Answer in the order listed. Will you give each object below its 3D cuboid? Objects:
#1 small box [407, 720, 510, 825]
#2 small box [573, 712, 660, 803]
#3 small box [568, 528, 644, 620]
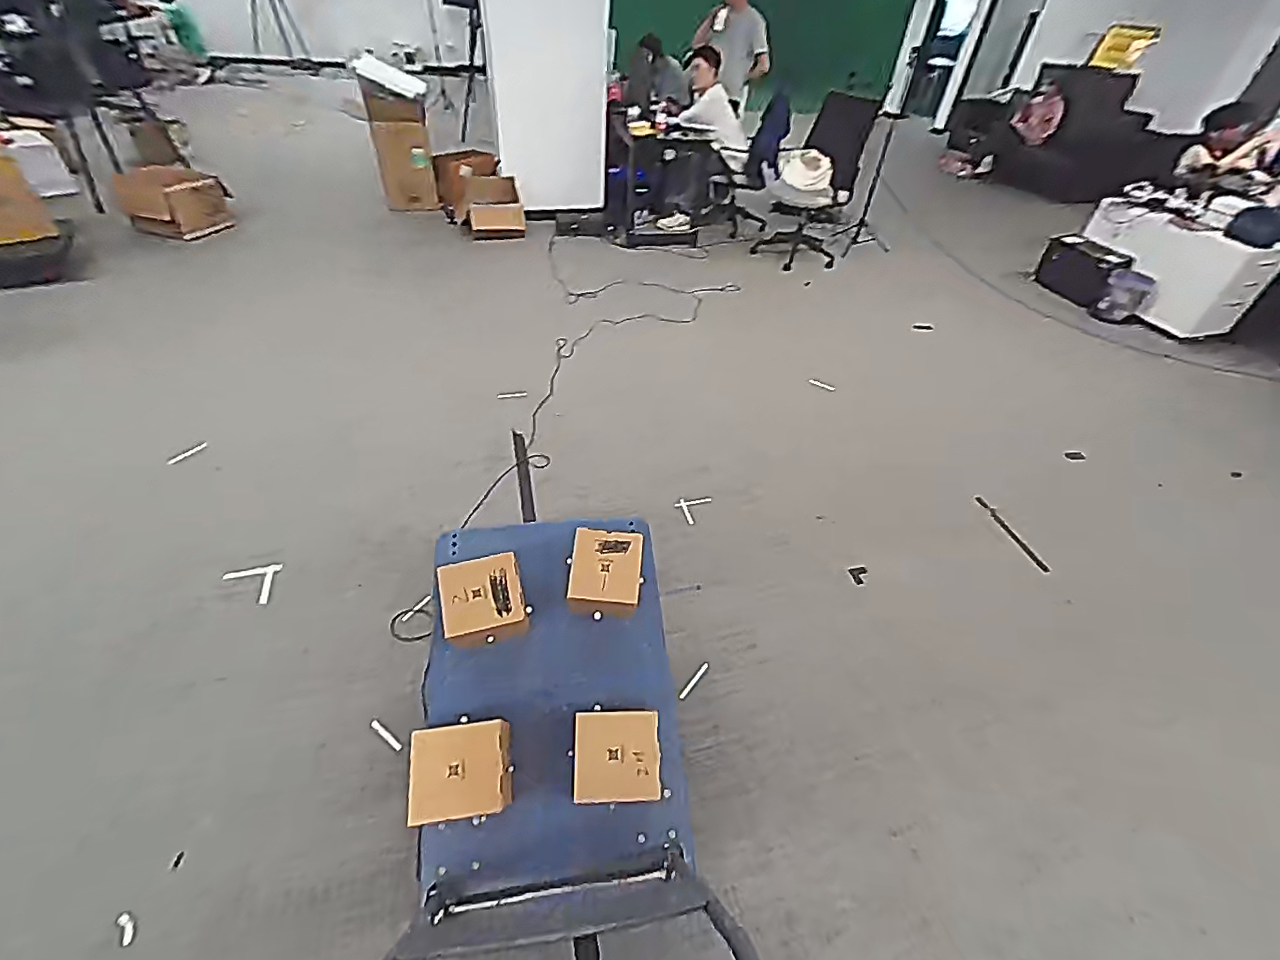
[{"bbox_3d":[-0.369,0.607,1.126,0.179,0.176,0.168,-4,63,-11],"label":"small box"},{"bbox_3d":[-0.054,0.598,1.168,0.179,0.176,0.168,2,63,-6],"label":"small box"},{"bbox_3d":[-0.087,0.239,1.351,0.168,0.176,0.179,7,63,-3],"label":"small box"}]
